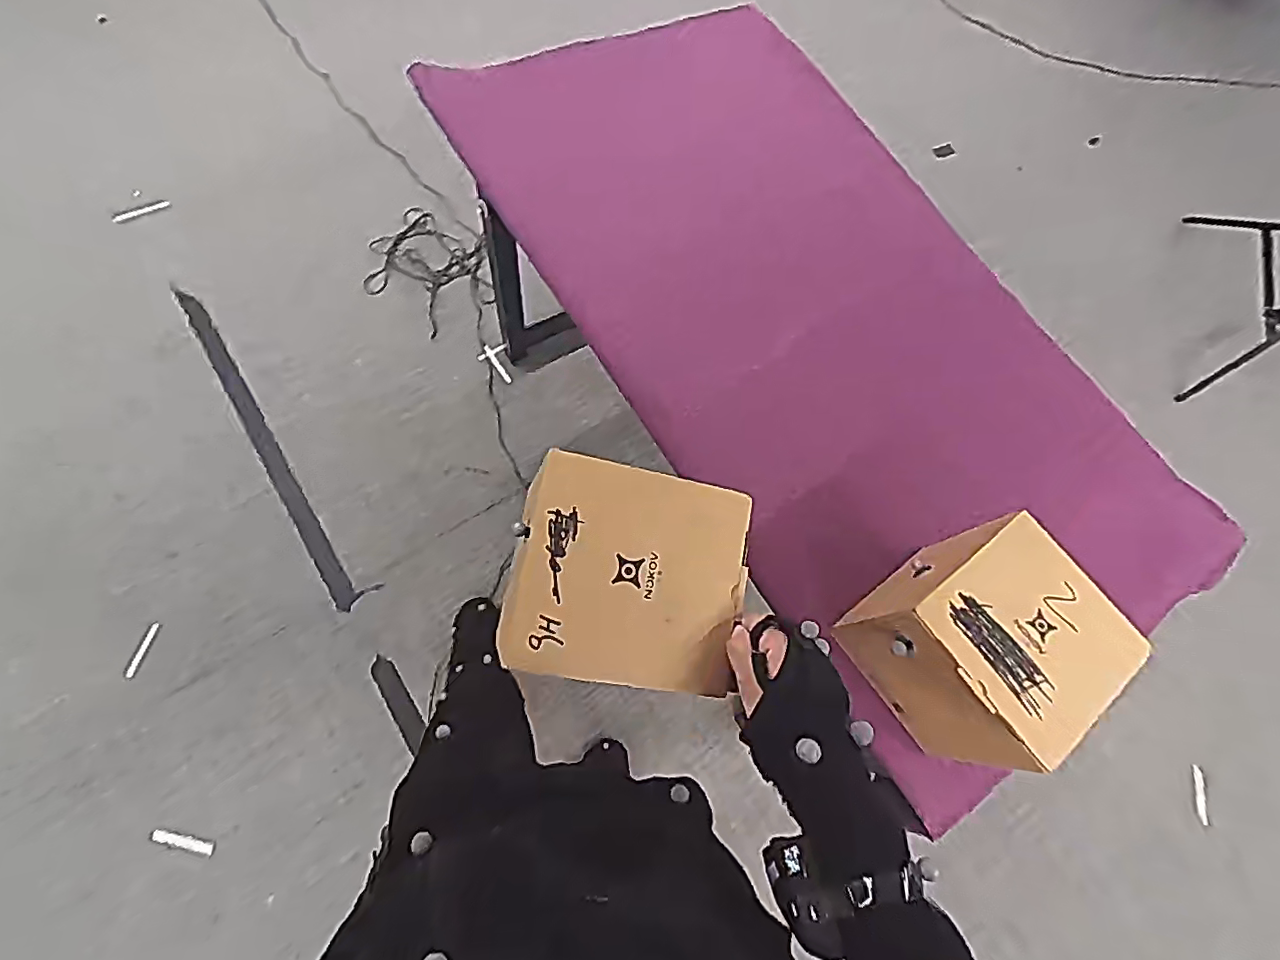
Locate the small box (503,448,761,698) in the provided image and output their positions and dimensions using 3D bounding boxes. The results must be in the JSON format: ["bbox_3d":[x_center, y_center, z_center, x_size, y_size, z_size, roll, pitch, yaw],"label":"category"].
[{"bbox_3d":[-0.017,0.084,0.490,0.179,0.176,0.168,14,77,-14],"label":"small box"}]
